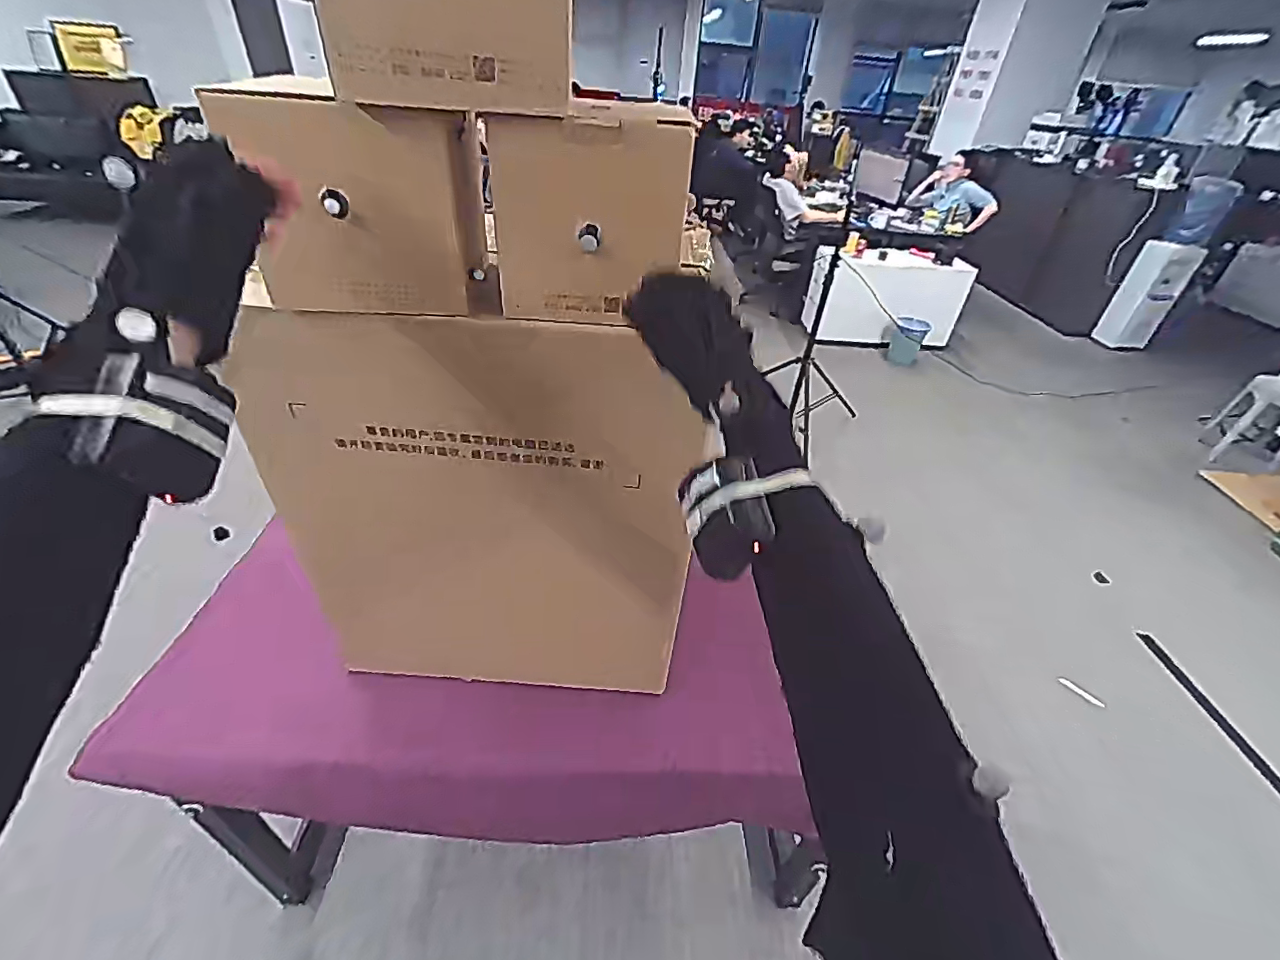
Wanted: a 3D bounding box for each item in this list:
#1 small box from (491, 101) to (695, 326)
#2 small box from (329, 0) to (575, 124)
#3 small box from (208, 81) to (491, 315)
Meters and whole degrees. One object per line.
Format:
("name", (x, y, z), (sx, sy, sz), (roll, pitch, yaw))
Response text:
("small box", (-0.040, -0.266, 0.538), (0.168, 0.176, 0.179), (3, 39, -3))
("small box", (-0.137, -0.384, 0.415), (0.168, 0.176, 0.179), (-2, 38, -11))
("small box", (-0.245, -0.267, 0.518), (0.179, 0.176, 0.168), (-1, 38, -6))
